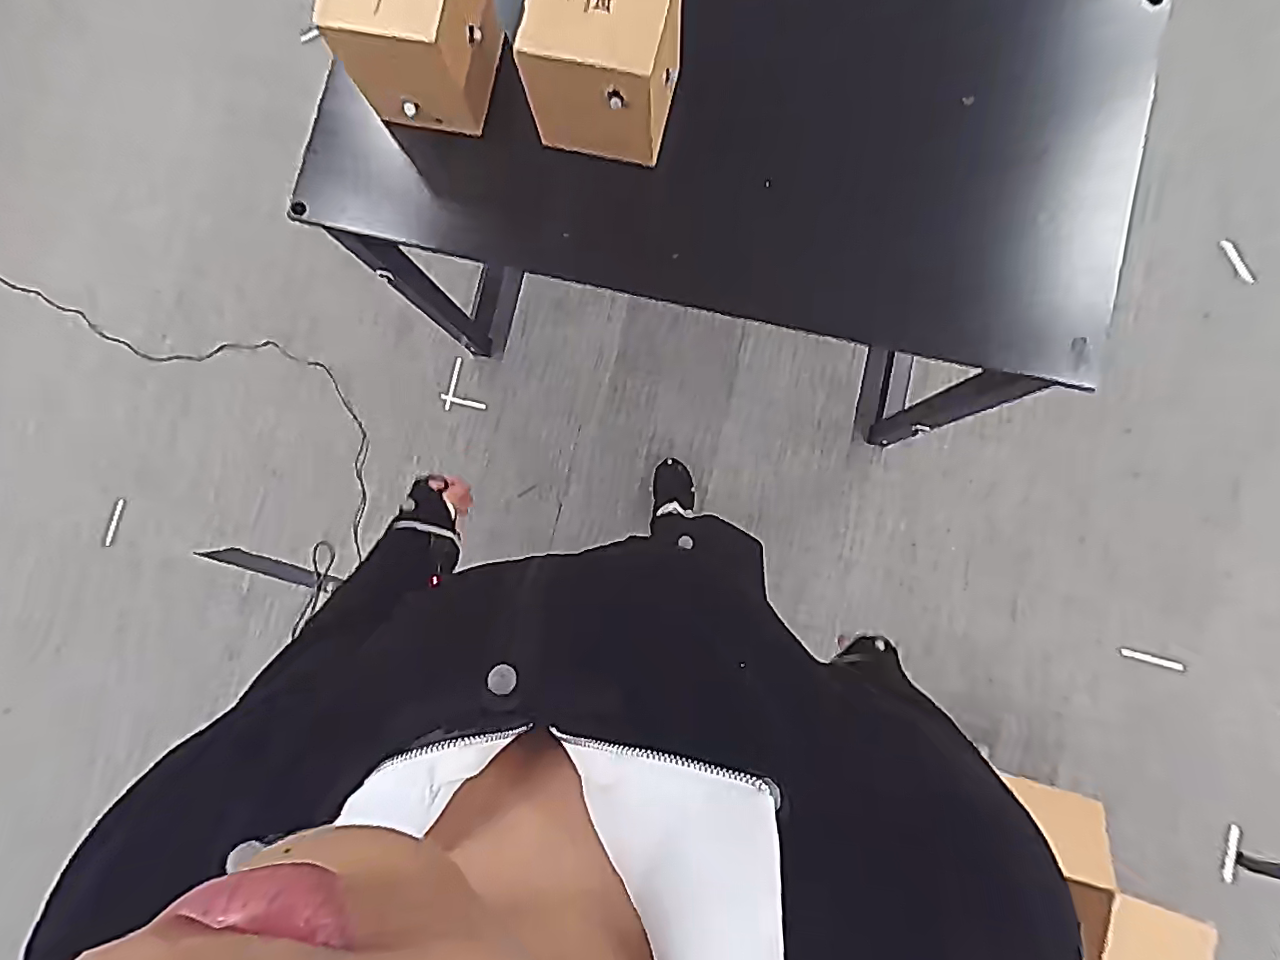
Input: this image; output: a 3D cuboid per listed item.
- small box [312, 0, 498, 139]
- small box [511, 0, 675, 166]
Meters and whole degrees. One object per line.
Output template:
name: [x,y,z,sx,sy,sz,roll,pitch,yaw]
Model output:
small box: [-0.312,-0.627,0.757,0.168,0.176,0.179,11,87,4]
small box: [-0.052,-0.567,0.739,0.179,0.176,0.168,13,86,4]
